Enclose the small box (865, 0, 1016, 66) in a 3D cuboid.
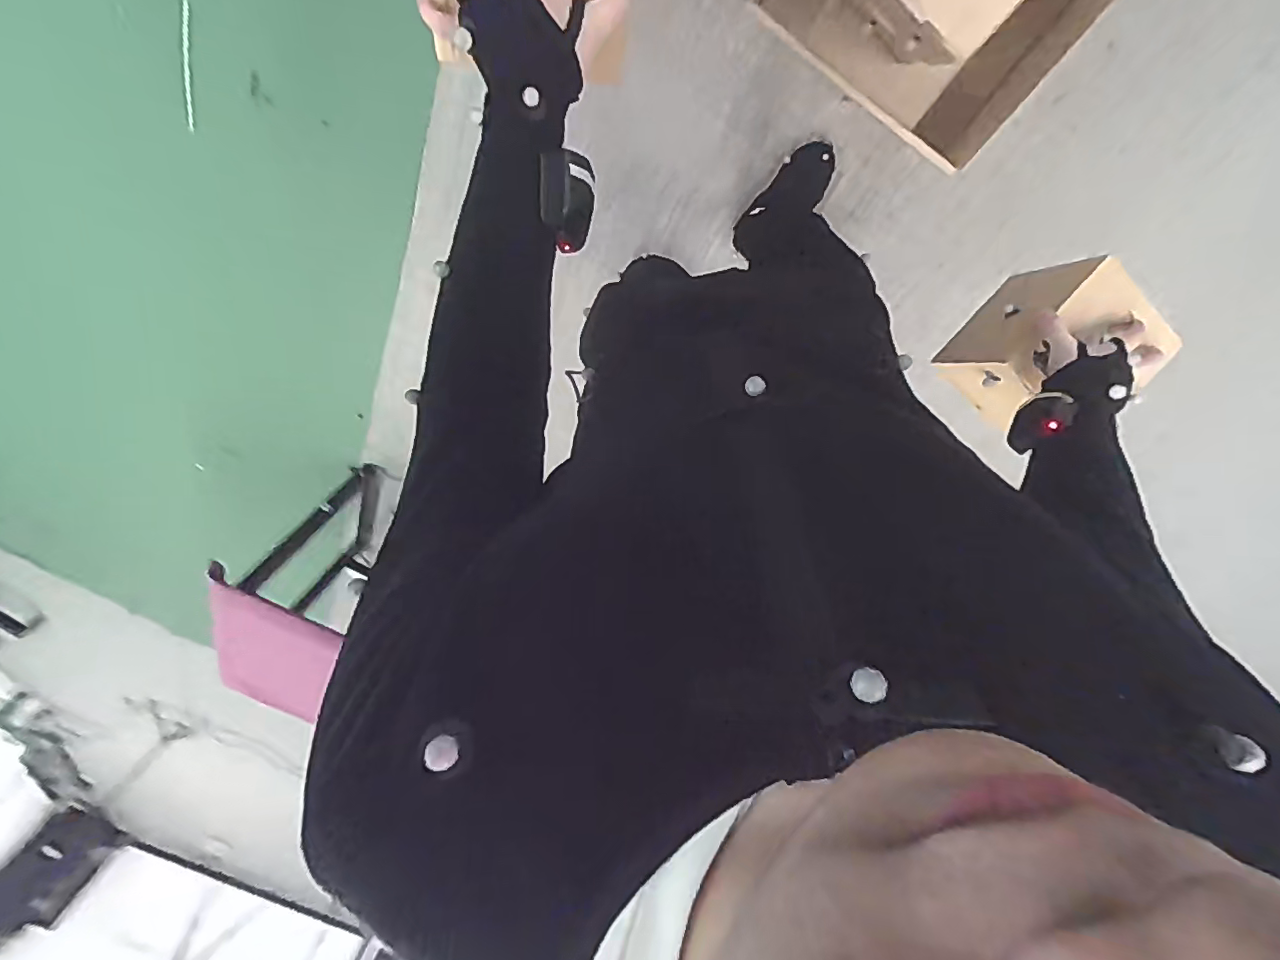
[{"bbox_3d":[0.337,-0.578,0.569,0.168,0.176,0.179,36,125,-14],"label":"small box"}]
